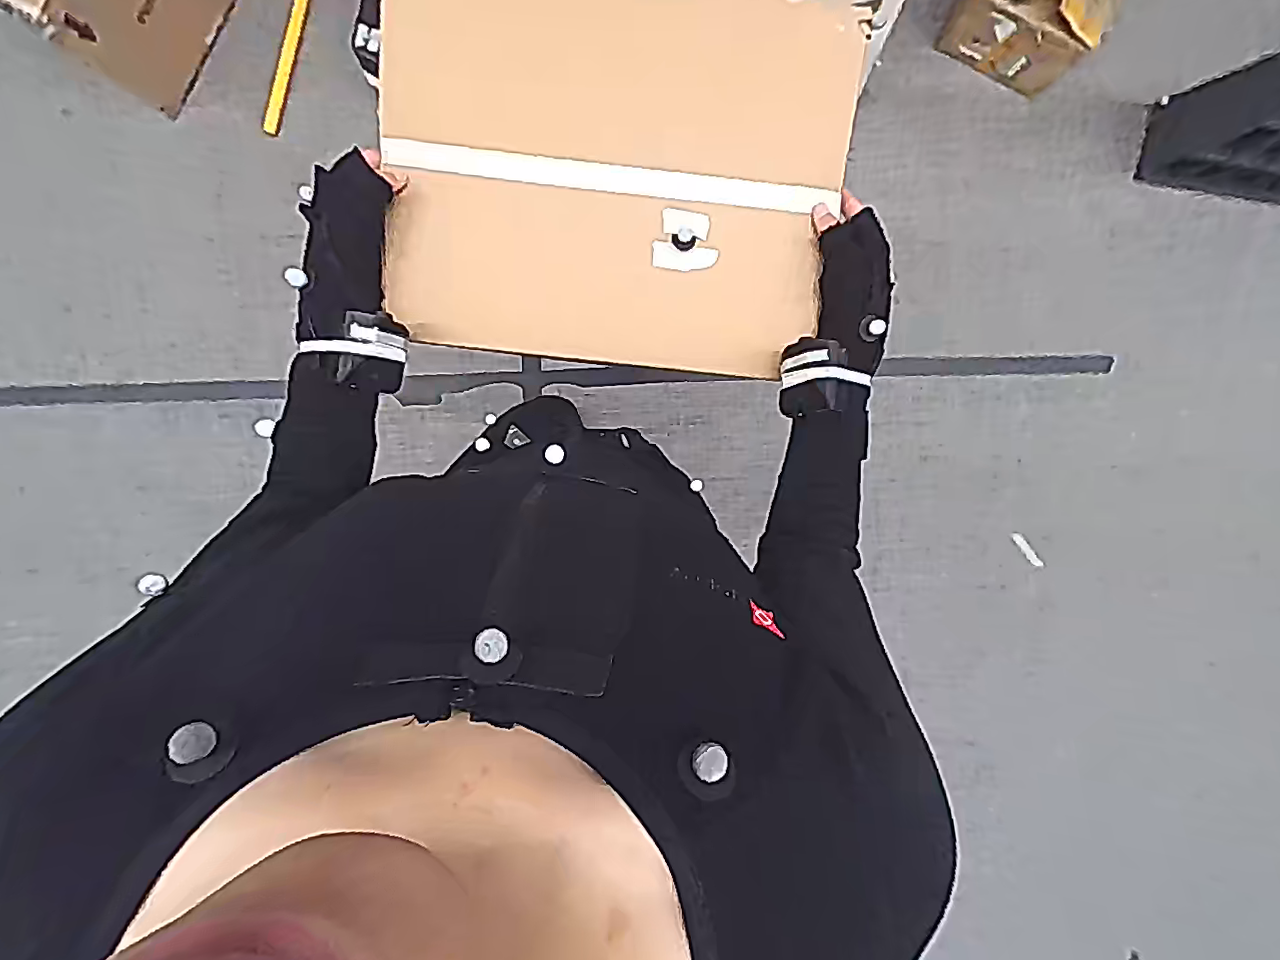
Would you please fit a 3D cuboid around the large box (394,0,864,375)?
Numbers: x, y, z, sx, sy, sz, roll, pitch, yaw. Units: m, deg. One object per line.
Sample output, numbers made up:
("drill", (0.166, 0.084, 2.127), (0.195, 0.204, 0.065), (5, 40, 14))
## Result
("large box", (-0.024, -0.297, 0.629), (0.408, 0.320, 0.320), (6, 102, -3))
